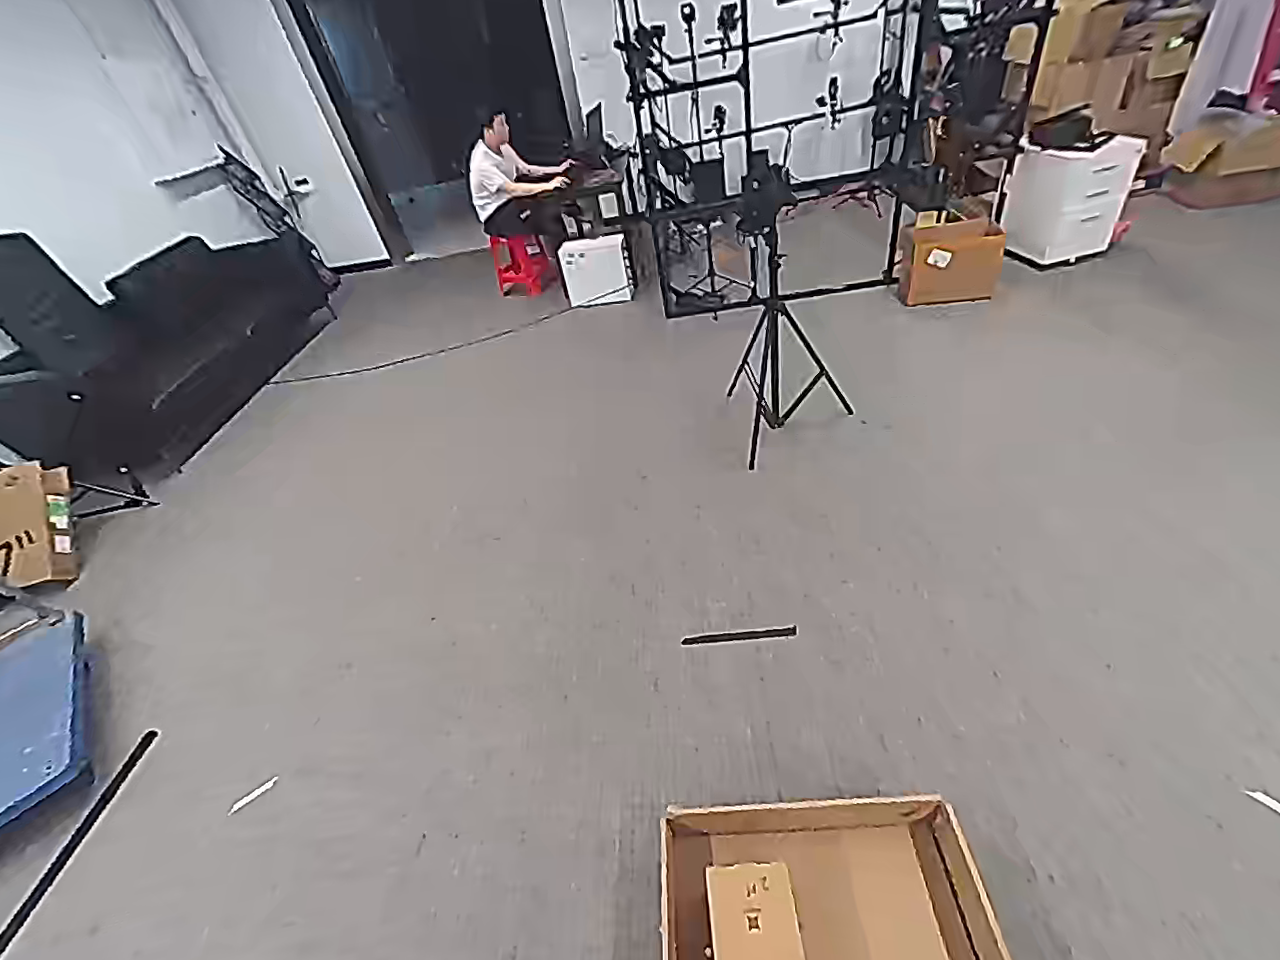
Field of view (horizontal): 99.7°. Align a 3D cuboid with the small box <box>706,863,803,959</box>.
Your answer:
[{"bbox_3d":[0.227,0.895,1.078,0.168,0.176,0.179,-7,40,5],"label":"small box"}]
